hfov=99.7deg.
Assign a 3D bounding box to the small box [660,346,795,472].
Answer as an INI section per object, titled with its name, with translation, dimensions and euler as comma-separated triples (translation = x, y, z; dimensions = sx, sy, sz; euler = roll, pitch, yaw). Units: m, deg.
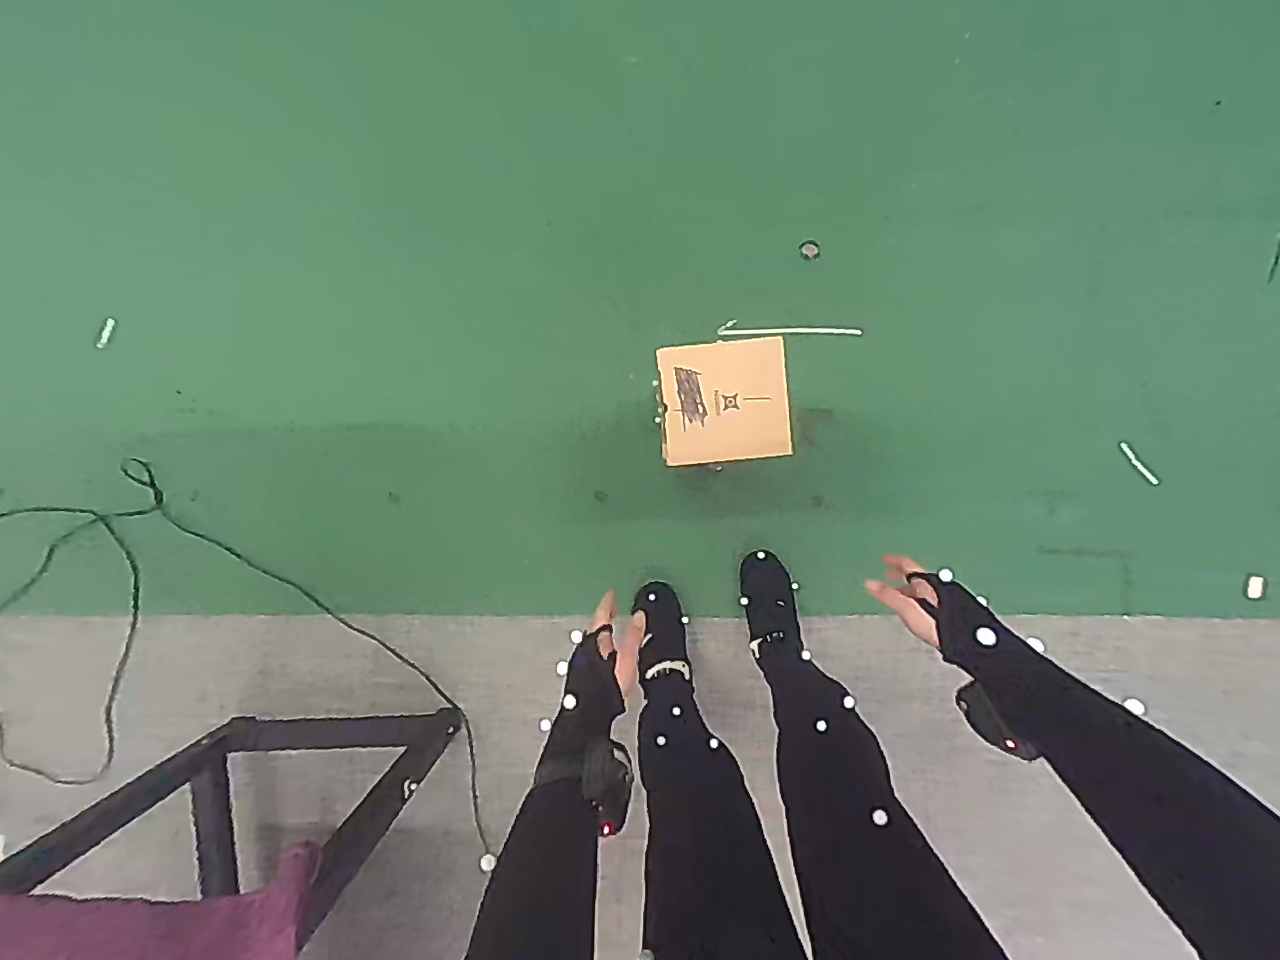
[small box]
translation = 0.127, -0.100, 0.827
dimensions = 0.179, 0.176, 0.168
euler = -5, 93, 3
